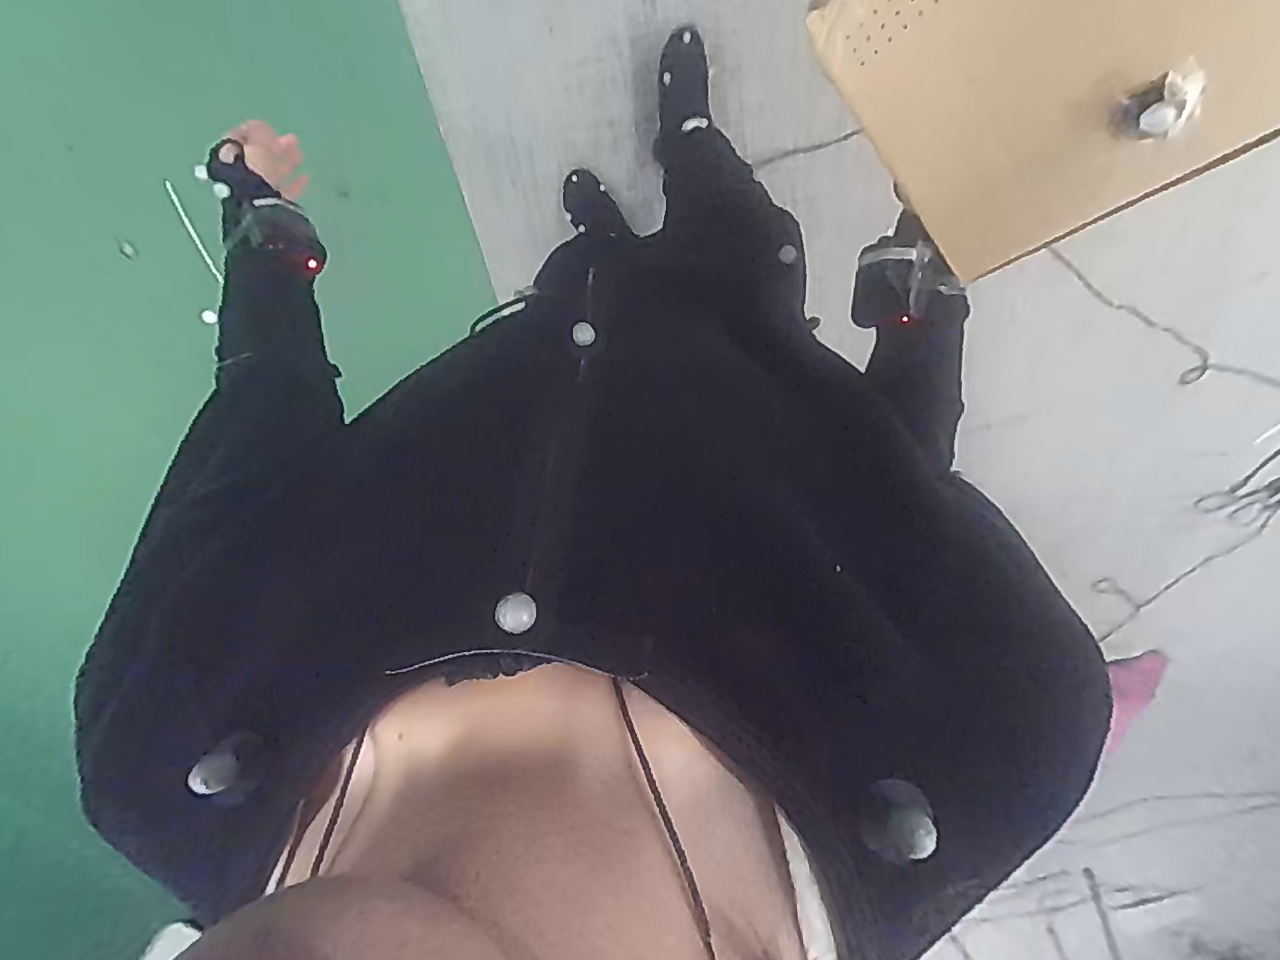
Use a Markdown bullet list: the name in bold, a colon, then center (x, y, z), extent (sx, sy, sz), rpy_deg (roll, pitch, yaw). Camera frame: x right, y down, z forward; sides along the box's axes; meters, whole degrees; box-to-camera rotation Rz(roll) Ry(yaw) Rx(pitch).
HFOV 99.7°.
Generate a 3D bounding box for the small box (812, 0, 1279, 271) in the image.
- **small box**: center (0.207, -0.246, 0.250), extent (0.176, 0.168, 0.179), rpy_deg (39, 143, -27)
